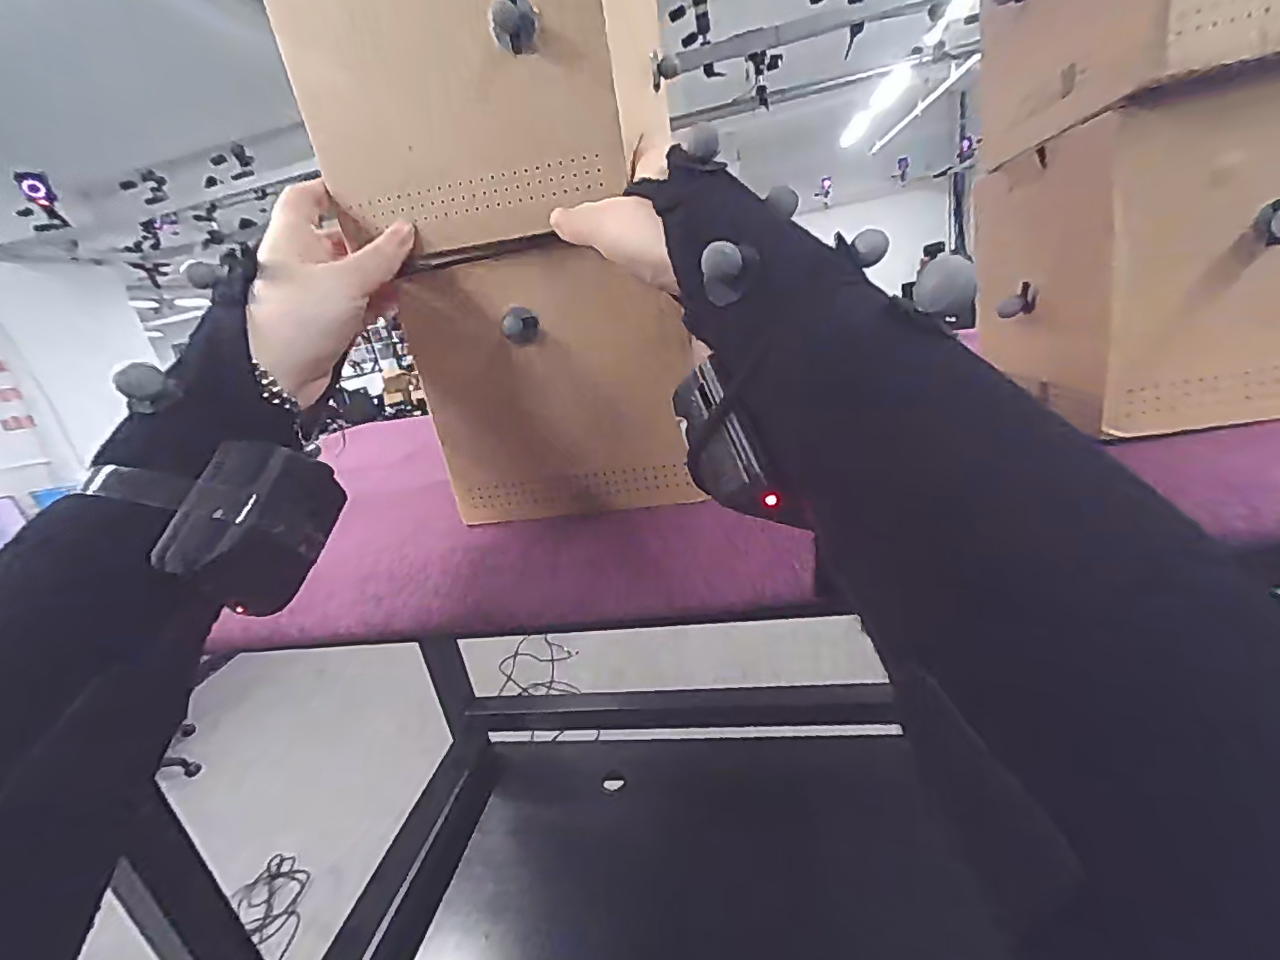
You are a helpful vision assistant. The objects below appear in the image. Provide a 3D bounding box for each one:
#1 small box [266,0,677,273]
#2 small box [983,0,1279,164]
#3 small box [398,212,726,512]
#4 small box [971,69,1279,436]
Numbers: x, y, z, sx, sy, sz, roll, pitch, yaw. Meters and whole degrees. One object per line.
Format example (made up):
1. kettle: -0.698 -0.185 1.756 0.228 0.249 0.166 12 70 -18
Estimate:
1. small box: -0.078 -0.234 0.333 0.179 0.176 0.168 -3 24 14
2. small box: 0.302 -0.281 0.278 0.179 0.176 0.168 -7 16 13
3. small box: -0.036 -0.082 0.404 0.179 0.176 0.168 -6 19 13
4. small box: 0.334 -0.131 0.334 0.179 0.176 0.168 -8 16 13
